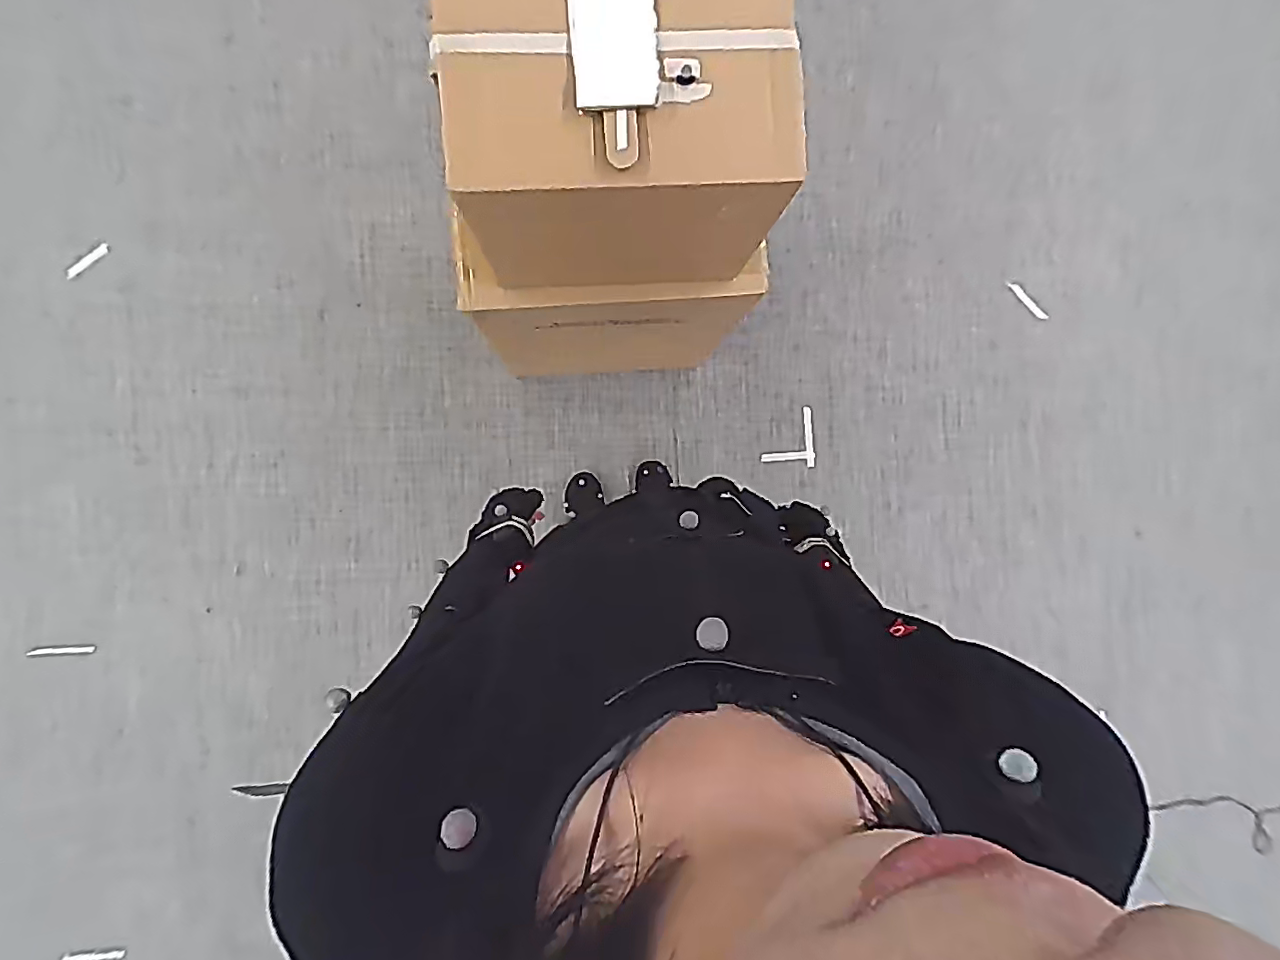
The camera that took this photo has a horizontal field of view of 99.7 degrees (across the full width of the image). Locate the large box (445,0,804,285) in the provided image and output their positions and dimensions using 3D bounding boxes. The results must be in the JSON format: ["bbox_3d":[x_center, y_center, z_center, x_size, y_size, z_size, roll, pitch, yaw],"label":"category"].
[{"bbox_3d":[-0.030,-0.492,0.767,0.408,0.320,0.320,-4,91,-5],"label":"large box"}]
